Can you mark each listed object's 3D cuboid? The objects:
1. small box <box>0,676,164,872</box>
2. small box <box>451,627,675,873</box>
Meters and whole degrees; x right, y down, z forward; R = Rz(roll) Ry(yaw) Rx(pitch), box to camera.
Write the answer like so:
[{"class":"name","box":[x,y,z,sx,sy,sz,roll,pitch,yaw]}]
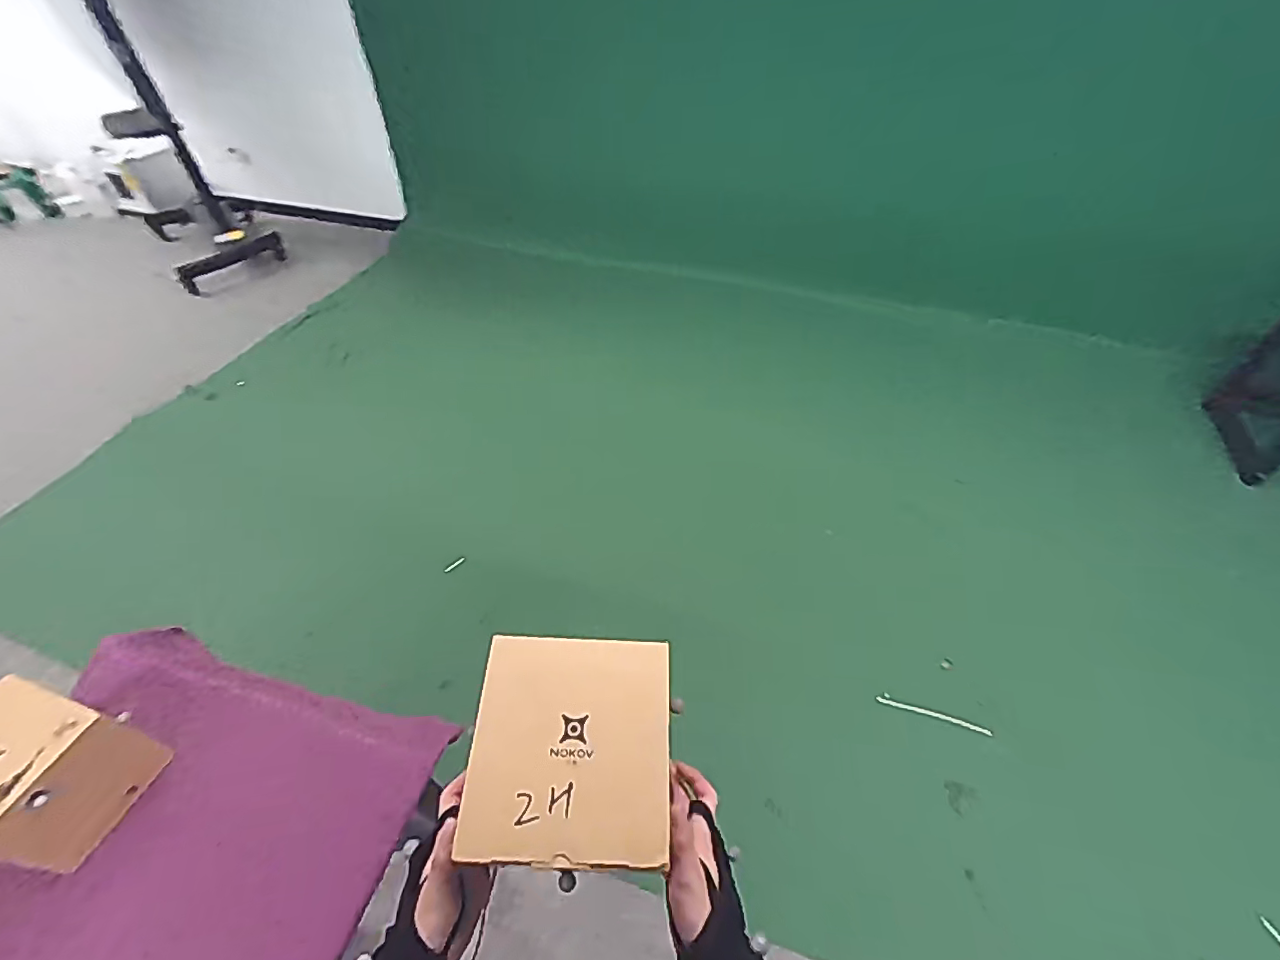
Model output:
[{"class":"small box","box":[-0.823,0.399,0.731,0.179,0.176,0.168,14,49,13]},{"class":"small box","box":[-0.058,0.256,0.508,0.168,0.176,0.179,3,54,0]}]
